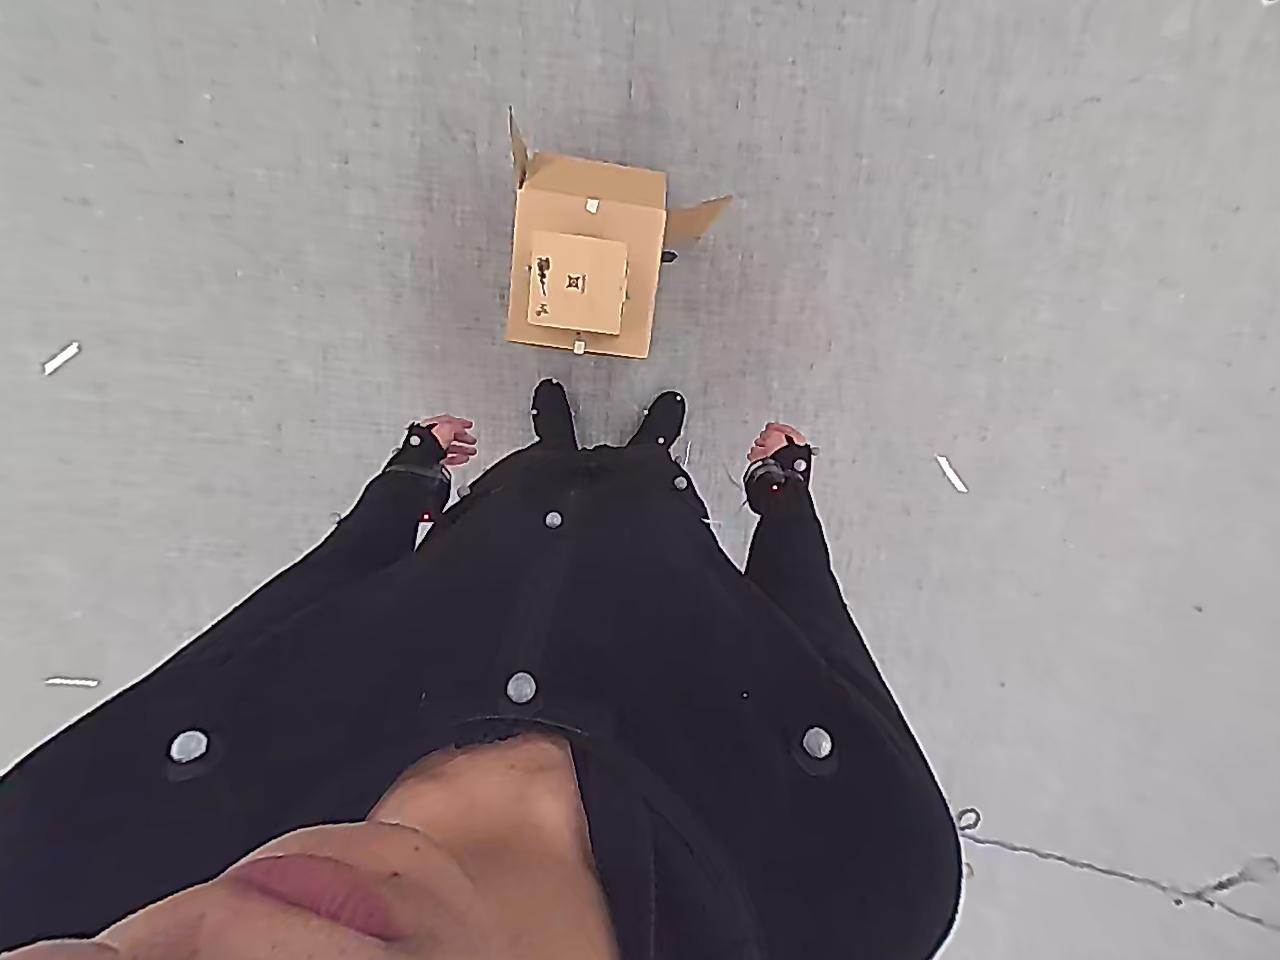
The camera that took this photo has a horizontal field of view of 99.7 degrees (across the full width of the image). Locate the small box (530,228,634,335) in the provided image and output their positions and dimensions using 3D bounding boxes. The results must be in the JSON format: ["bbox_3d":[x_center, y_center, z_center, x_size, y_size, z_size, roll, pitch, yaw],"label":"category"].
[{"bbox_3d":[-0.111,-0.380,1.061,0.179,0.176,0.168,6,103,-5],"label":"small box"}]
